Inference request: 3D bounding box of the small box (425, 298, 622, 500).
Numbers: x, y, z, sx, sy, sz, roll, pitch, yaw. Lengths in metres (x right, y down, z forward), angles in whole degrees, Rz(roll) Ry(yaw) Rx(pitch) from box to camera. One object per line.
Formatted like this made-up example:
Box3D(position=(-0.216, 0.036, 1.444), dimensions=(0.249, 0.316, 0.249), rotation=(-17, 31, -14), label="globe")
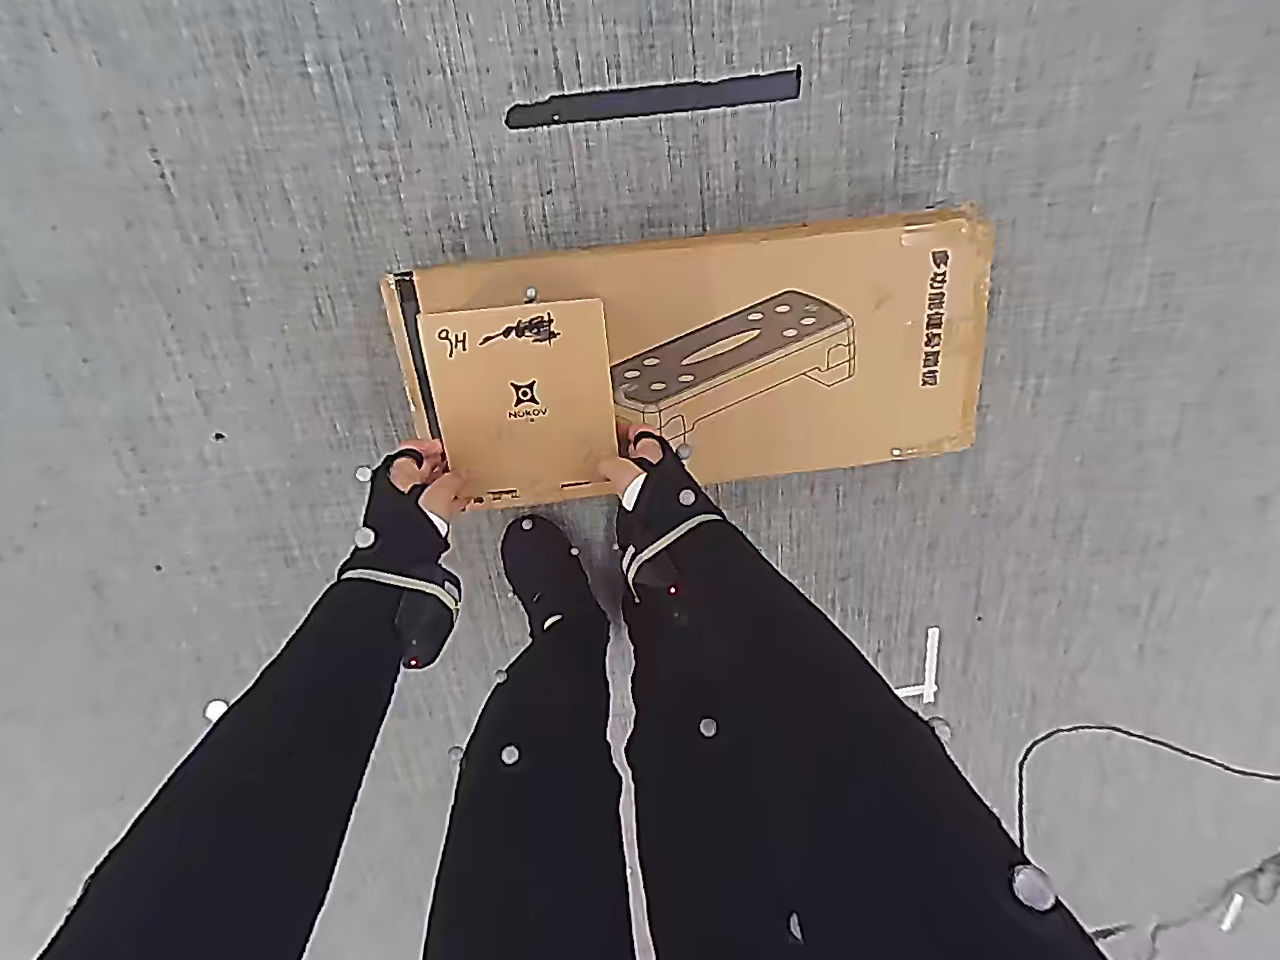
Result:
Box3D(position=(-0.108, -0.095, 0.580), dimensions=(0.168, 0.176, 0.179), rotation=(-6, 111, -3), label="small box")
